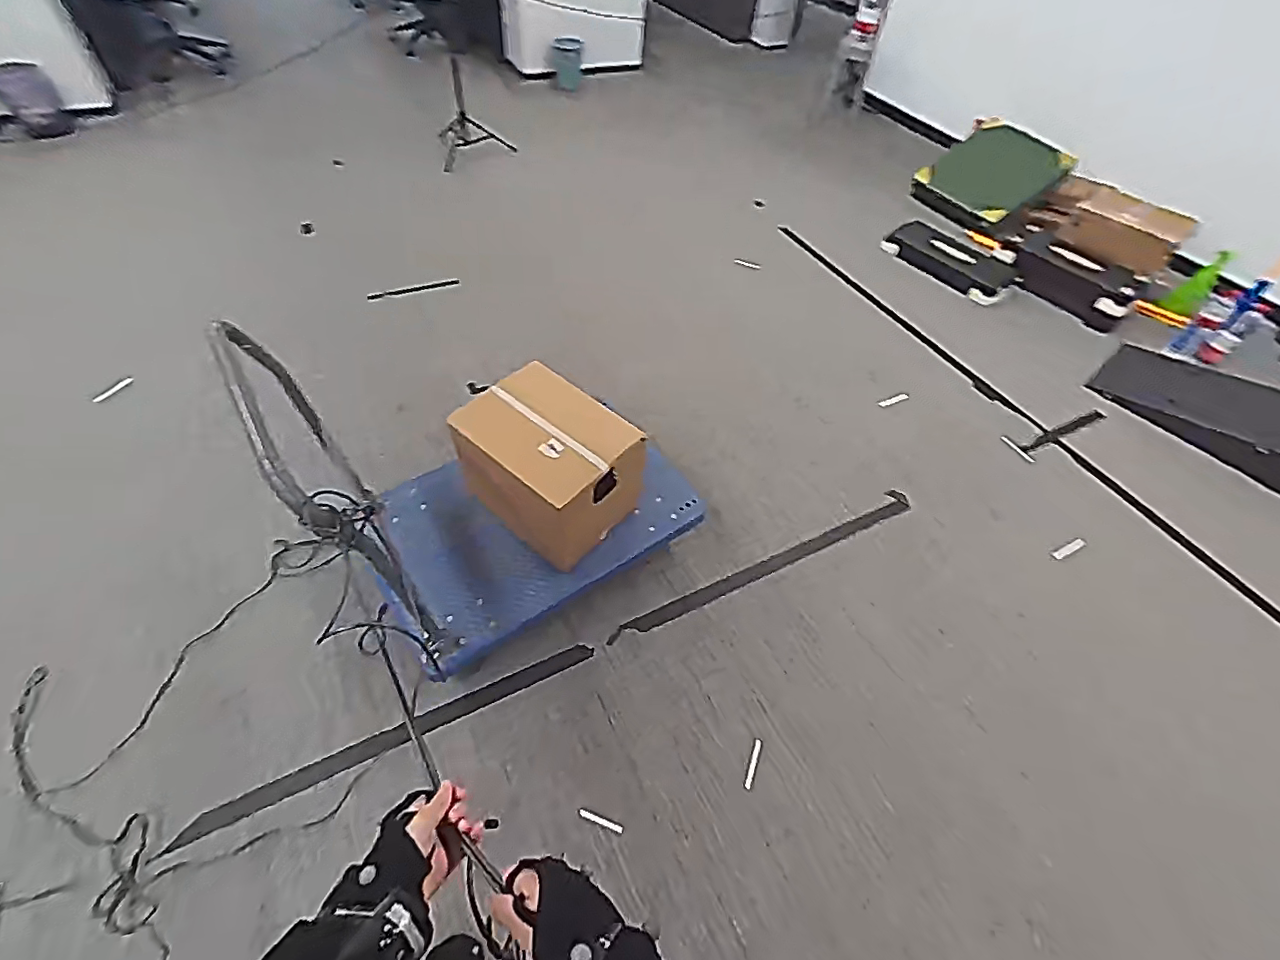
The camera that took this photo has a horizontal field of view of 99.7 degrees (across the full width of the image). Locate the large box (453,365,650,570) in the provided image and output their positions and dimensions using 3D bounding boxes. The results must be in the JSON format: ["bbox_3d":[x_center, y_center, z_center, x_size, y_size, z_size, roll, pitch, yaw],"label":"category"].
[{"bbox_3d":[-0.235,-0.036,1.469,0.408,0.320,0.320,36,58,20],"label":"large box"}]
